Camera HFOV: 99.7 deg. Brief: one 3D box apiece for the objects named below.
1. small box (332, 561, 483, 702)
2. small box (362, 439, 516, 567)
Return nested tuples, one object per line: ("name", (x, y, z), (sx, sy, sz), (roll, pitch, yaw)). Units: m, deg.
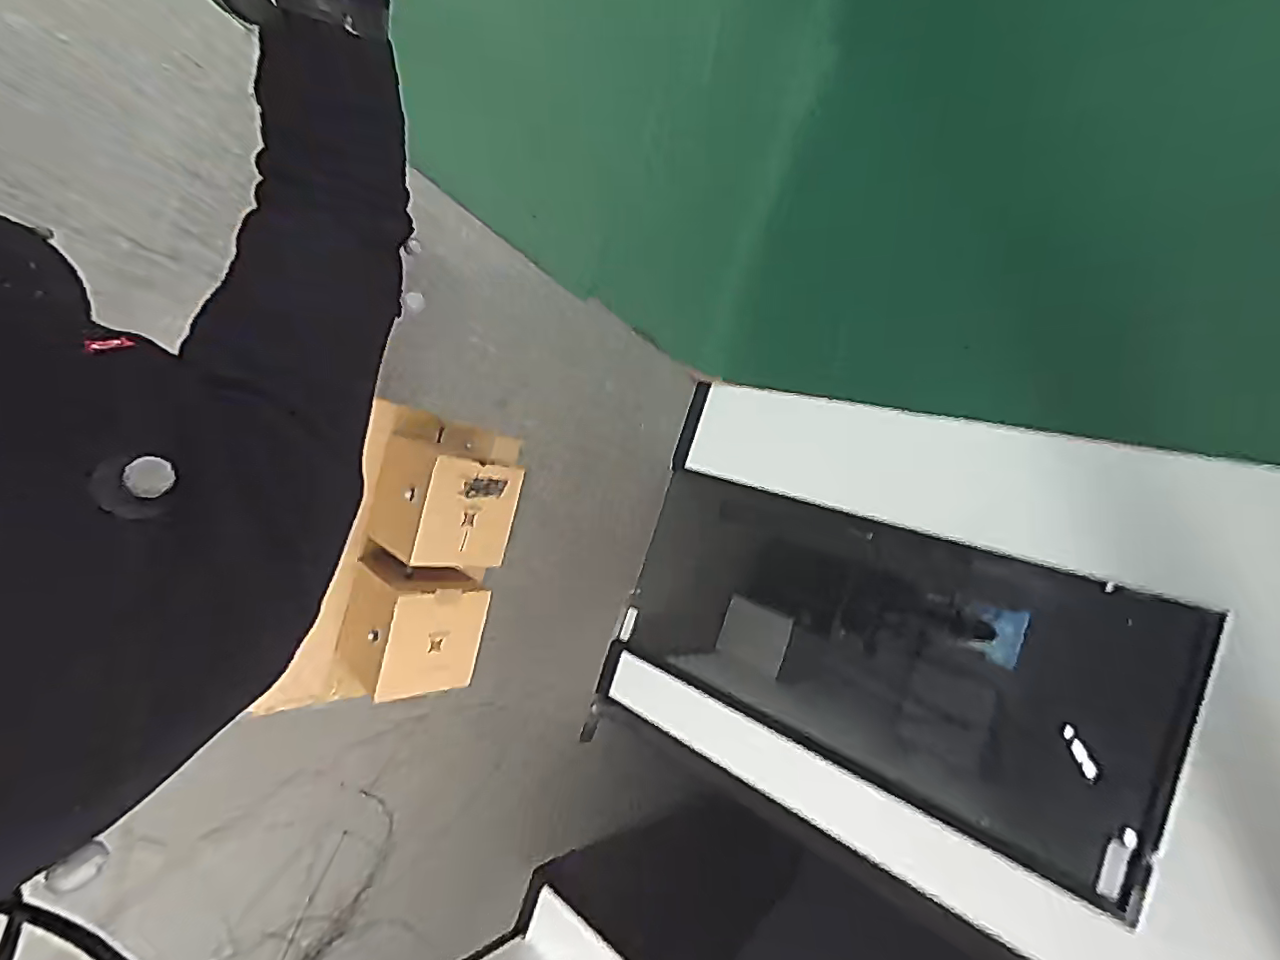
("small box", (-0.400, 0.244, 0.922), (0.168, 0.176, 0.179), (10, 97, -49))
("small box", (-0.342, 0.038, 0.914), (0.168, 0.176, 0.179), (13, 94, -50))
